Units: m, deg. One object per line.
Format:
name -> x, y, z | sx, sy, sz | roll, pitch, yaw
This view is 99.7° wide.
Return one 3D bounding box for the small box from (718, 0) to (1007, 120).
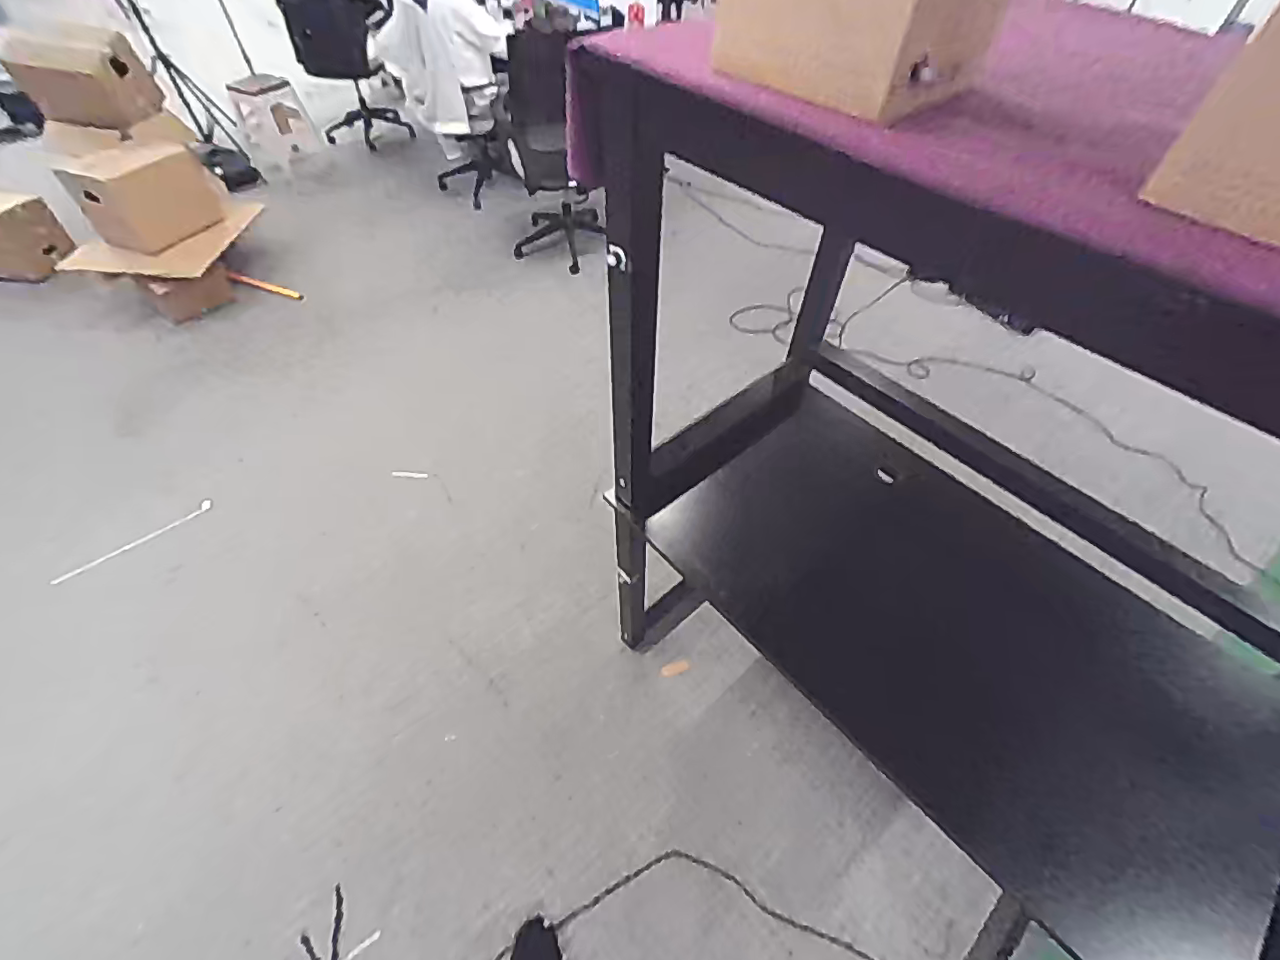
small box -> 0.184, -0.406, 0.424 | 0.168, 0.176, 0.179 | -35, 59, -27
